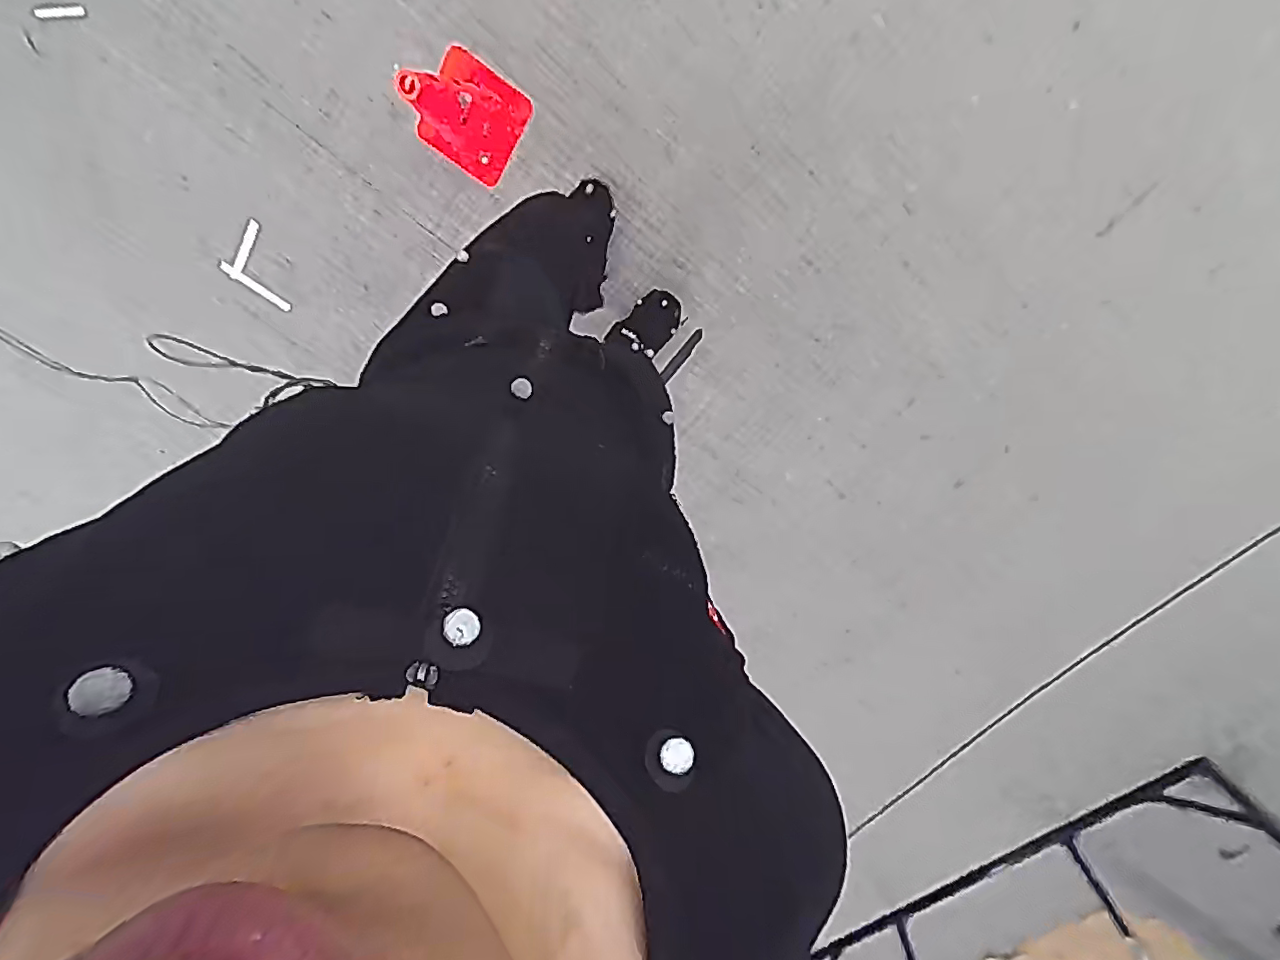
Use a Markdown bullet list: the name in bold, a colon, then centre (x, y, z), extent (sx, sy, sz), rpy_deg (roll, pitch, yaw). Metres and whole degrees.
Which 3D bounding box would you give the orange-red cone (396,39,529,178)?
- **orange-red cone**: centre (-0.362, -0.711, 0.998), extent (0.198, 0.360, 0.199), rpy_deg (33, 112, -14)
